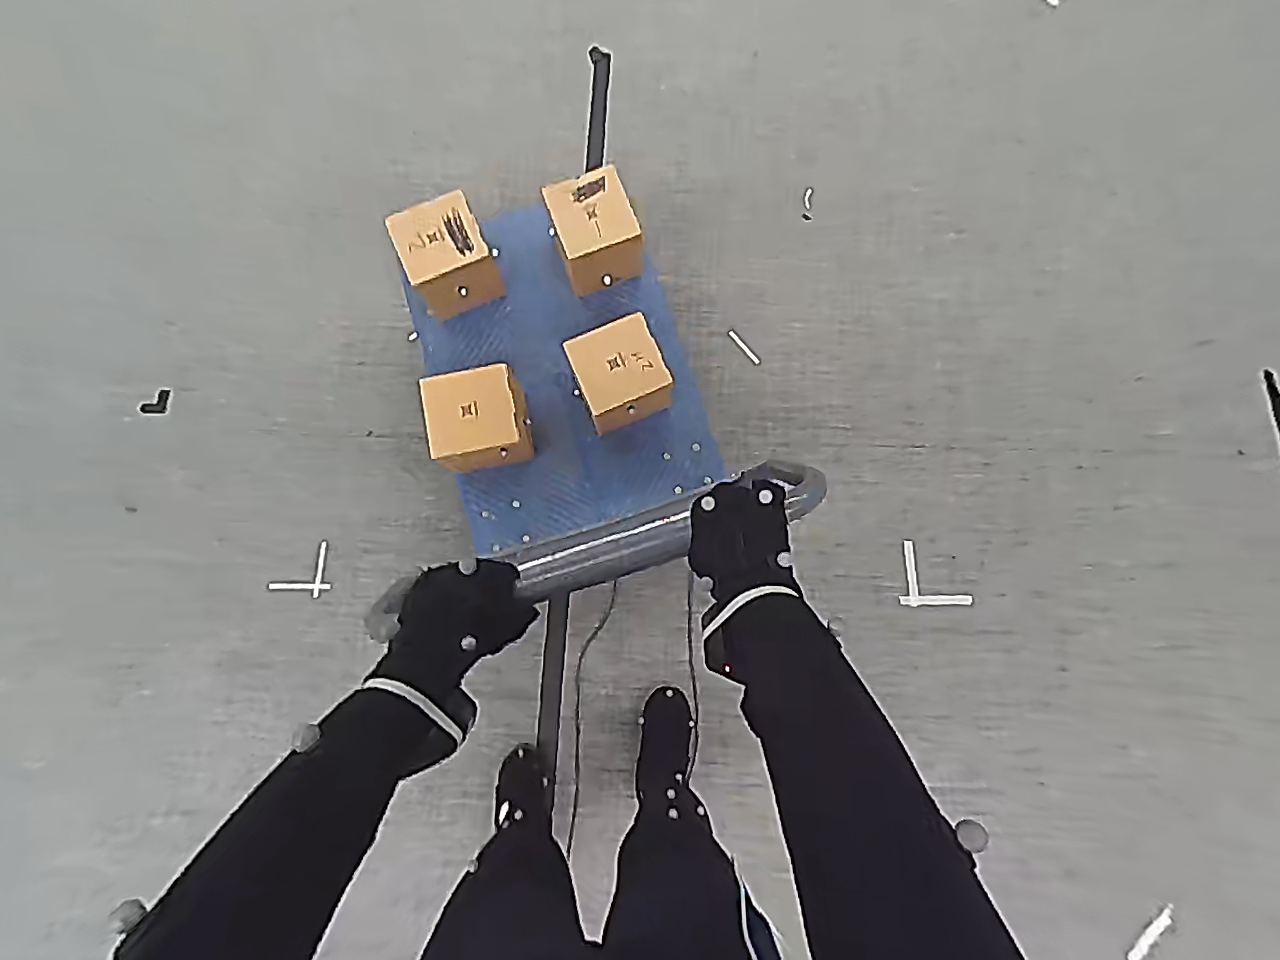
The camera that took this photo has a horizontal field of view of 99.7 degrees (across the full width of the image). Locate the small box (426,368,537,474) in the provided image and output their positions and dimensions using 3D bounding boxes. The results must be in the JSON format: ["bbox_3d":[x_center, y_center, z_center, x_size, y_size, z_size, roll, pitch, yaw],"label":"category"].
[{"bbox_3d":[-0.329,-0.117,1.147,0.179,0.176,0.168,-12,81,-4],"label":"small box"}]

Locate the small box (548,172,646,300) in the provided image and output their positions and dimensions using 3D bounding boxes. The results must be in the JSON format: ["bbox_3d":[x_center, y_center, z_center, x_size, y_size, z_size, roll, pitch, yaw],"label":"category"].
[{"bbox_3d":[-0.095,-0.541,1.215,0.168,0.176,0.179,-21,83,-3],"label":"small box"}]

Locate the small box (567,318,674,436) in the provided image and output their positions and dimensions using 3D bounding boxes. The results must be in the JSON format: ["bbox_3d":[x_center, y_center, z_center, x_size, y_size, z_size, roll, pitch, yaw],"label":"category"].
[{"bbox_3d":[-0.039,-0.212,1.163,0.179,0.176,0.168,-23,82,-4],"label":"small box"}]
